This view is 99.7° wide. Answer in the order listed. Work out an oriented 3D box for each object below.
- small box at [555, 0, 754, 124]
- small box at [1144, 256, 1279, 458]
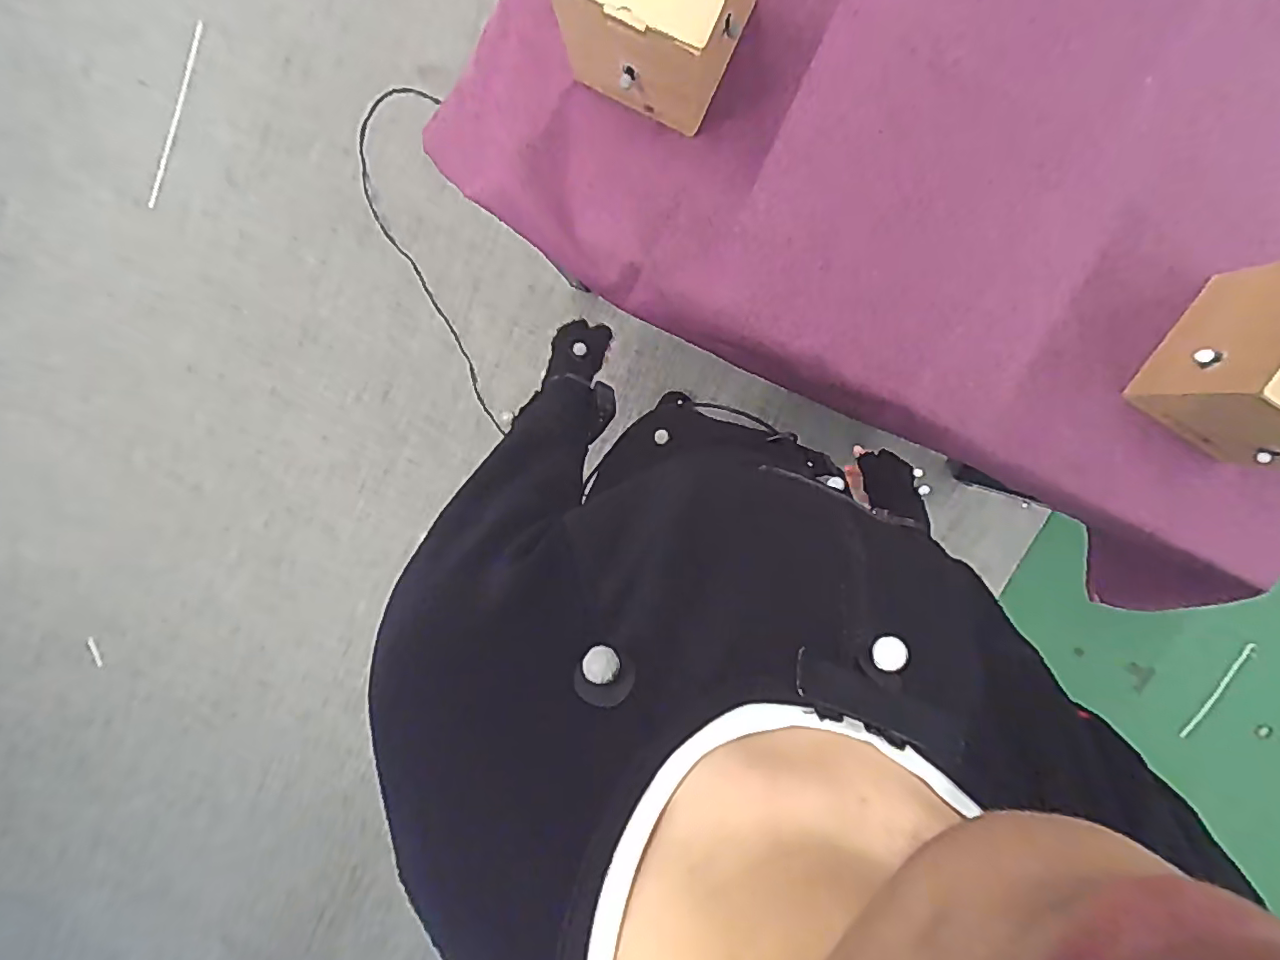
[{"bbox_3d":[0.027,-0.526,0.572,0.168,0.176,0.179,25,100,-1],"label":"small box"},{"bbox_3d":[0.721,-0.130,0.589,0.168,0.176,0.179,32,99,-2],"label":"small box"}]
